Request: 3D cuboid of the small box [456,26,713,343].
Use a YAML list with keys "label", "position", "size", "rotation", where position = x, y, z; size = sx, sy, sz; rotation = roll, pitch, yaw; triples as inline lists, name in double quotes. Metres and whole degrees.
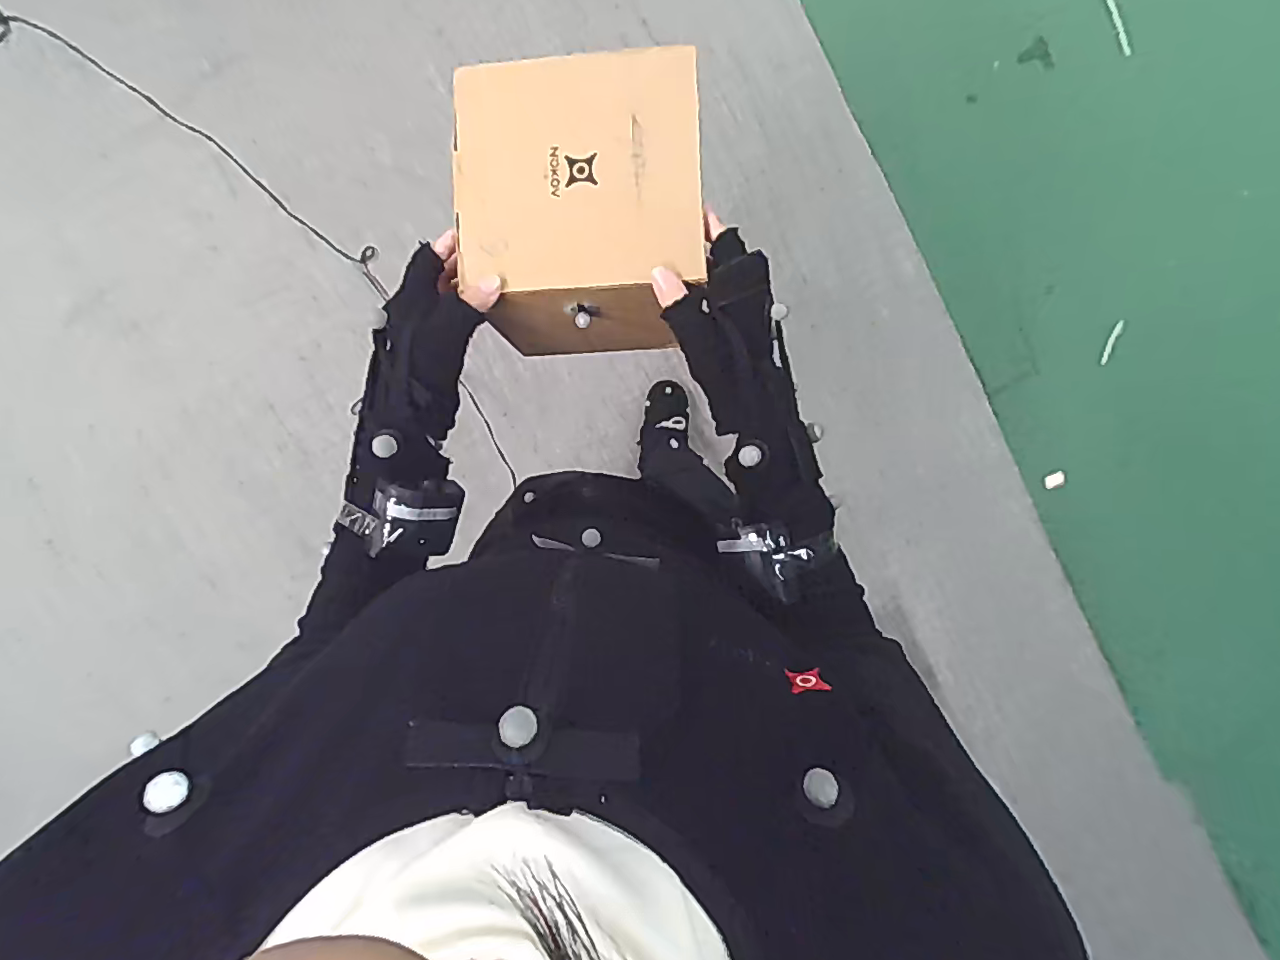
- label: "small box"
  position: [-0.033, -0.221, 0.453]
  size: [0.179, 0.176, 0.168]
  rotation: [-4, 89, 5]
